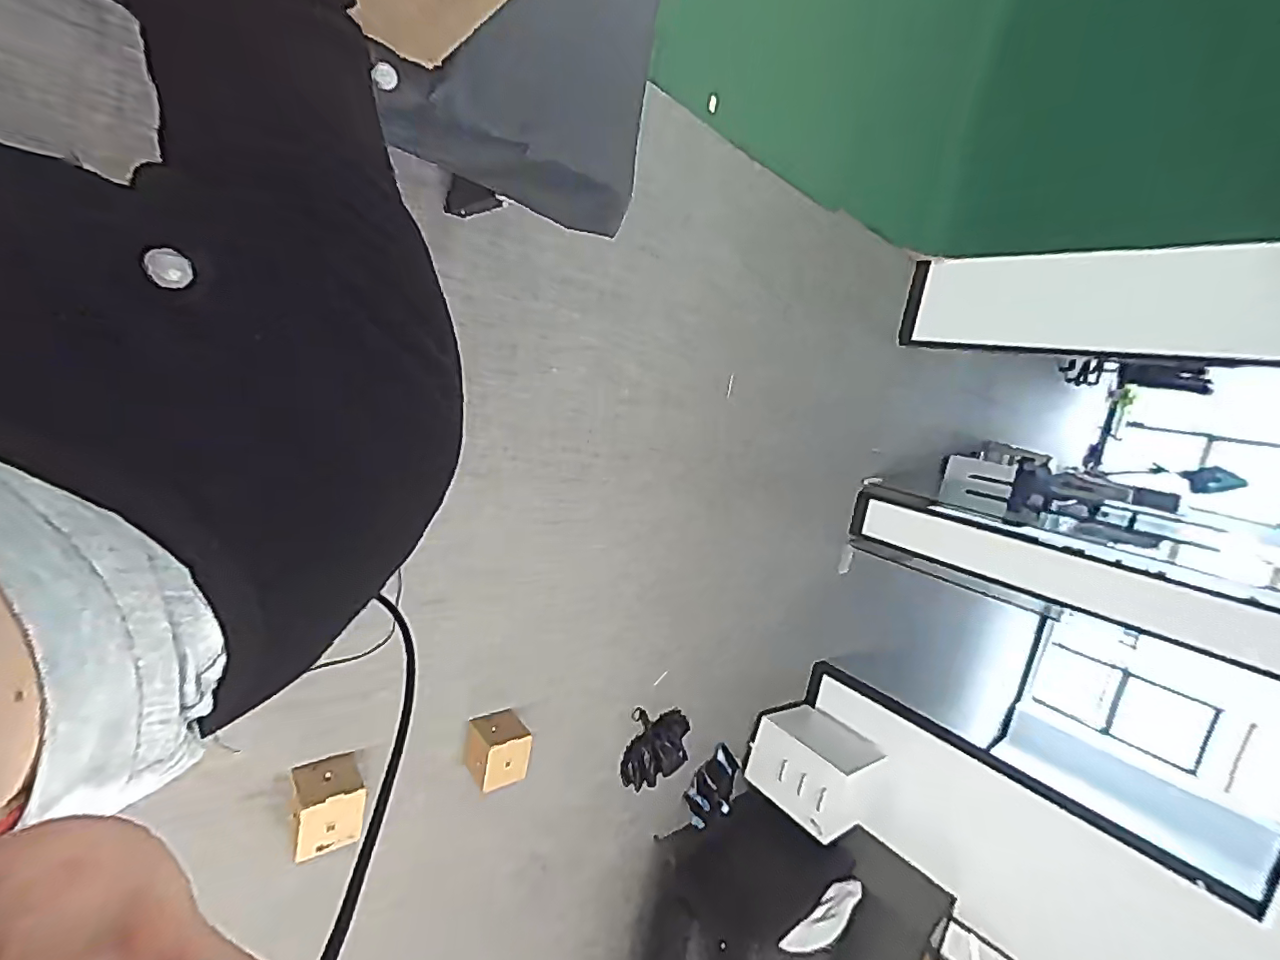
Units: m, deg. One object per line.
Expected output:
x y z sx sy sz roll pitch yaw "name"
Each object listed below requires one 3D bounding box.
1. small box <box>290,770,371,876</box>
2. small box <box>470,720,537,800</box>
-0.892 0.968 1.553 0.168 0.176 0.179 2 101 -43 "small box"
-0.490 0.982 1.923 0.168 0.176 0.179 1 104 -41 "small box"
